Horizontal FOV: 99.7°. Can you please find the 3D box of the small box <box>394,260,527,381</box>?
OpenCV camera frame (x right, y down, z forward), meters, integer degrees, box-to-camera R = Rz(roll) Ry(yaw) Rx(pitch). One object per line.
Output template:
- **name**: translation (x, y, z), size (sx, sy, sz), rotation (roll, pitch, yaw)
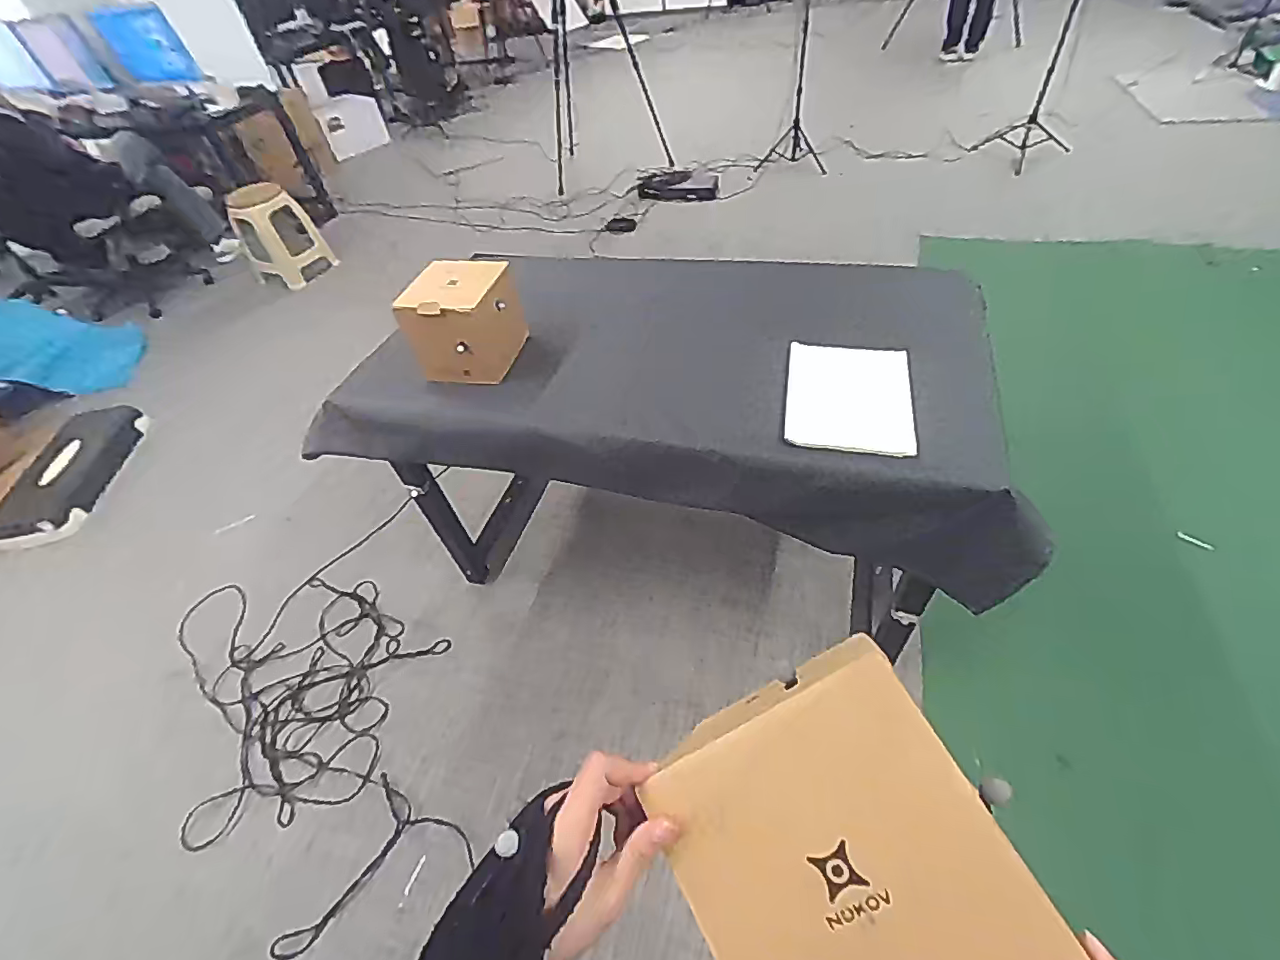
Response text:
- **small box**: translation (-0.338, -0.313, 1.064), size (0.168, 0.176, 0.179), rotation (6, 48, 12)
